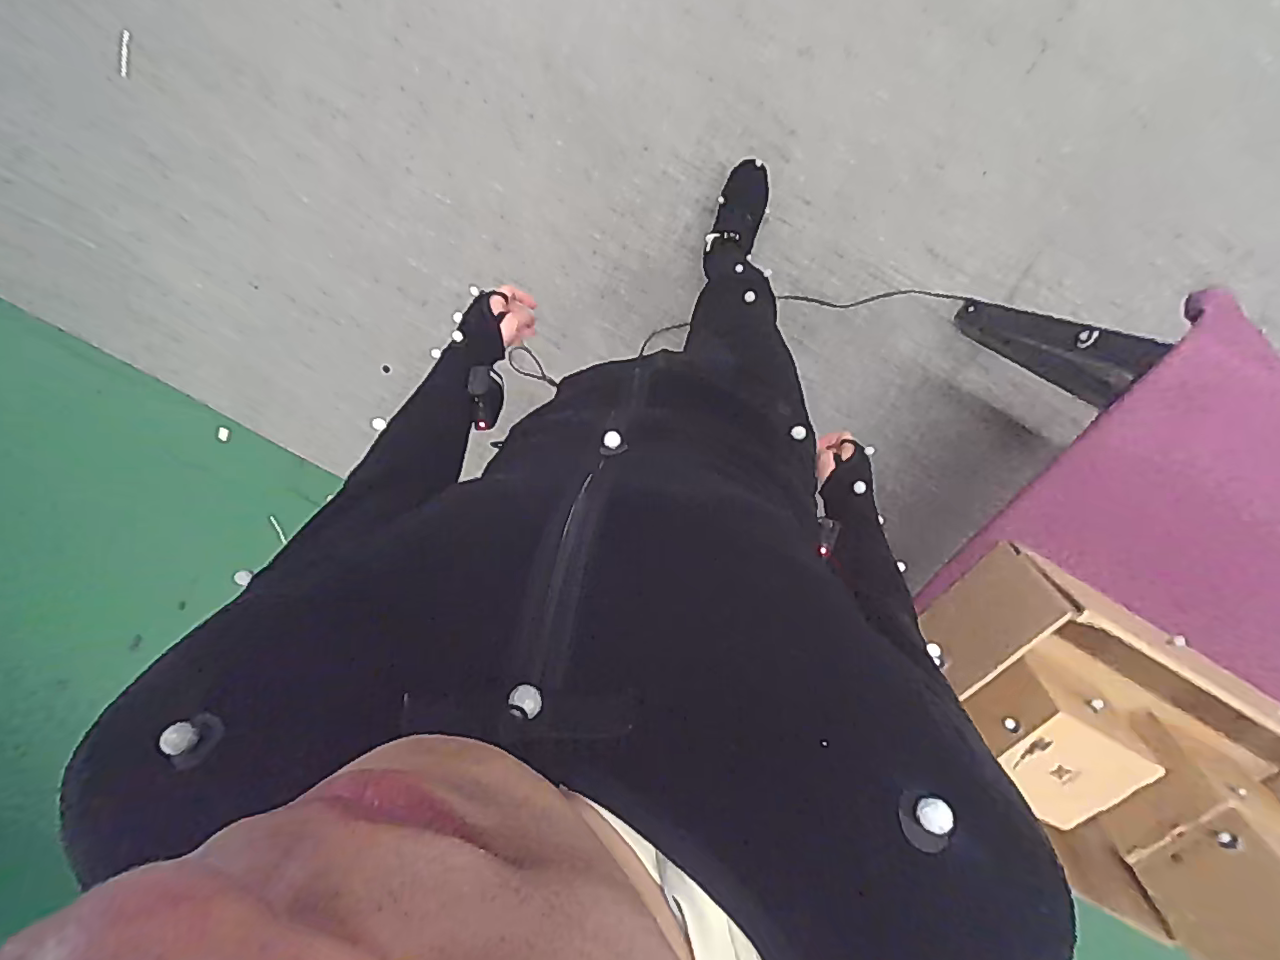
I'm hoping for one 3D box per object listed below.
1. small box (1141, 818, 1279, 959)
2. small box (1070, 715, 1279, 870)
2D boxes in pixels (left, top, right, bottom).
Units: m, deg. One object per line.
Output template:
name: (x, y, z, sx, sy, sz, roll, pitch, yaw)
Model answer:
small box: (0.807, 0.566, 0.676, 0.179, 0.176, 0.168, 28, 115, -3)
small box: (0.827, 0.498, 0.825, 0.179, 0.176, 0.168, 29, 115, -2)
